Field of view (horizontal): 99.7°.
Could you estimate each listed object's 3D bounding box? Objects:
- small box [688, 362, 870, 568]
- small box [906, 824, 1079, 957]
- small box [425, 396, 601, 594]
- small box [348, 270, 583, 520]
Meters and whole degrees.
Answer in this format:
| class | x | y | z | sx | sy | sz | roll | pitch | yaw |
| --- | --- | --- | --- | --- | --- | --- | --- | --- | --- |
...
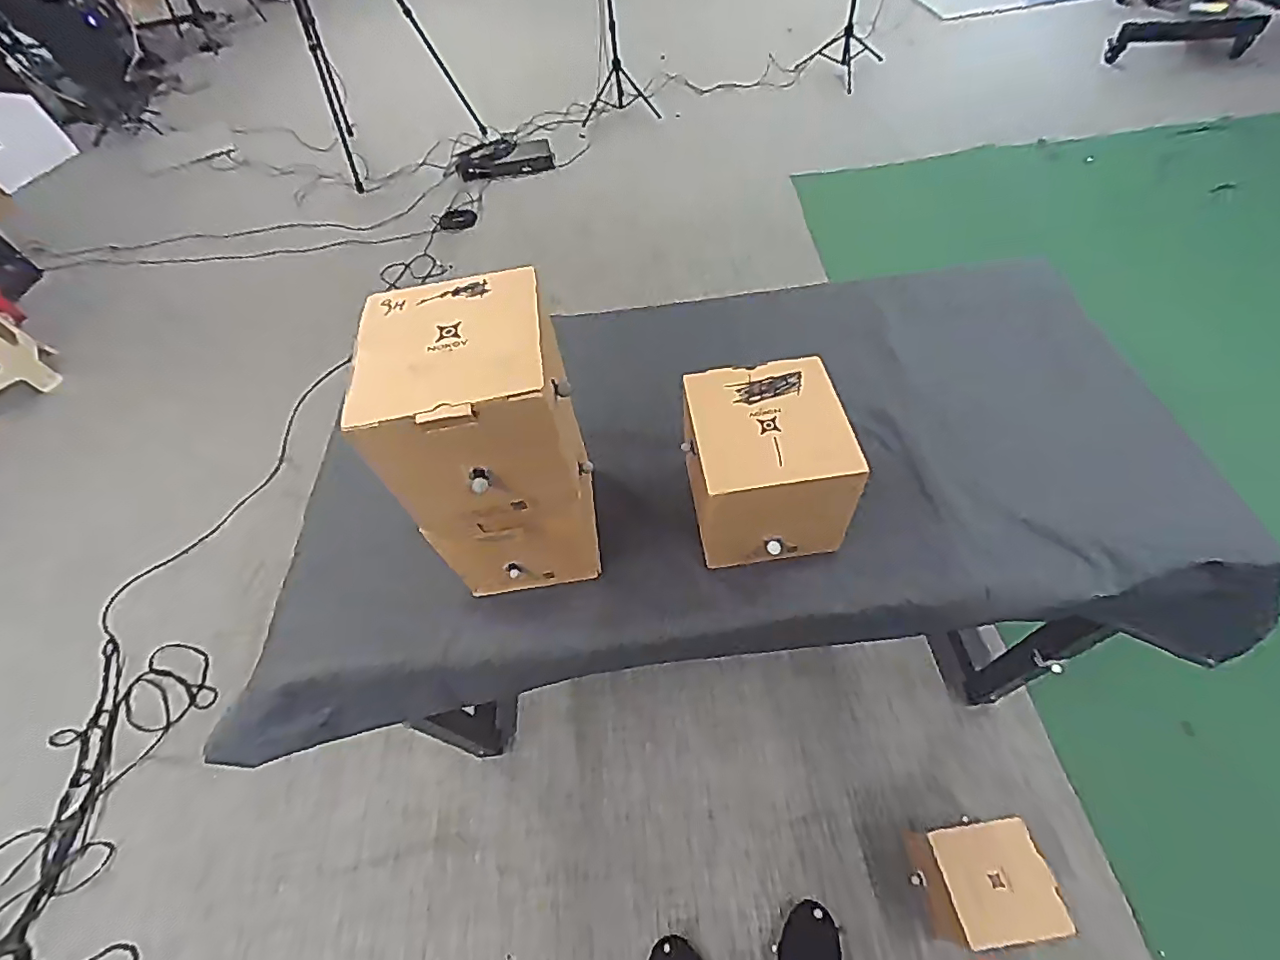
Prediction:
| class | x | y | z | sx | sy | sz | roll | pitch | yaw |
| --- | --- | --- | --- | --- | --- | --- | --- | --- | --- |
| small box | 0.151 | -0.015 | 0.658 | 0.168 | 0.176 | 0.179 | -8 | 54 | 1 |
| small box | 0.613 | 0.728 | 0.970 | 0.179 | 0.176 | 0.168 | -10 | 53 | 1 |
| small box | -0.146 | 0.020 | 0.673 | 0.168 | 0.176 | 0.179 | -9 | 54 | 0 |
| small box | -0.156 | -0.074 | 0.540 | 0.168 | 0.176 | 0.179 | -10 | 55 | -1 |
